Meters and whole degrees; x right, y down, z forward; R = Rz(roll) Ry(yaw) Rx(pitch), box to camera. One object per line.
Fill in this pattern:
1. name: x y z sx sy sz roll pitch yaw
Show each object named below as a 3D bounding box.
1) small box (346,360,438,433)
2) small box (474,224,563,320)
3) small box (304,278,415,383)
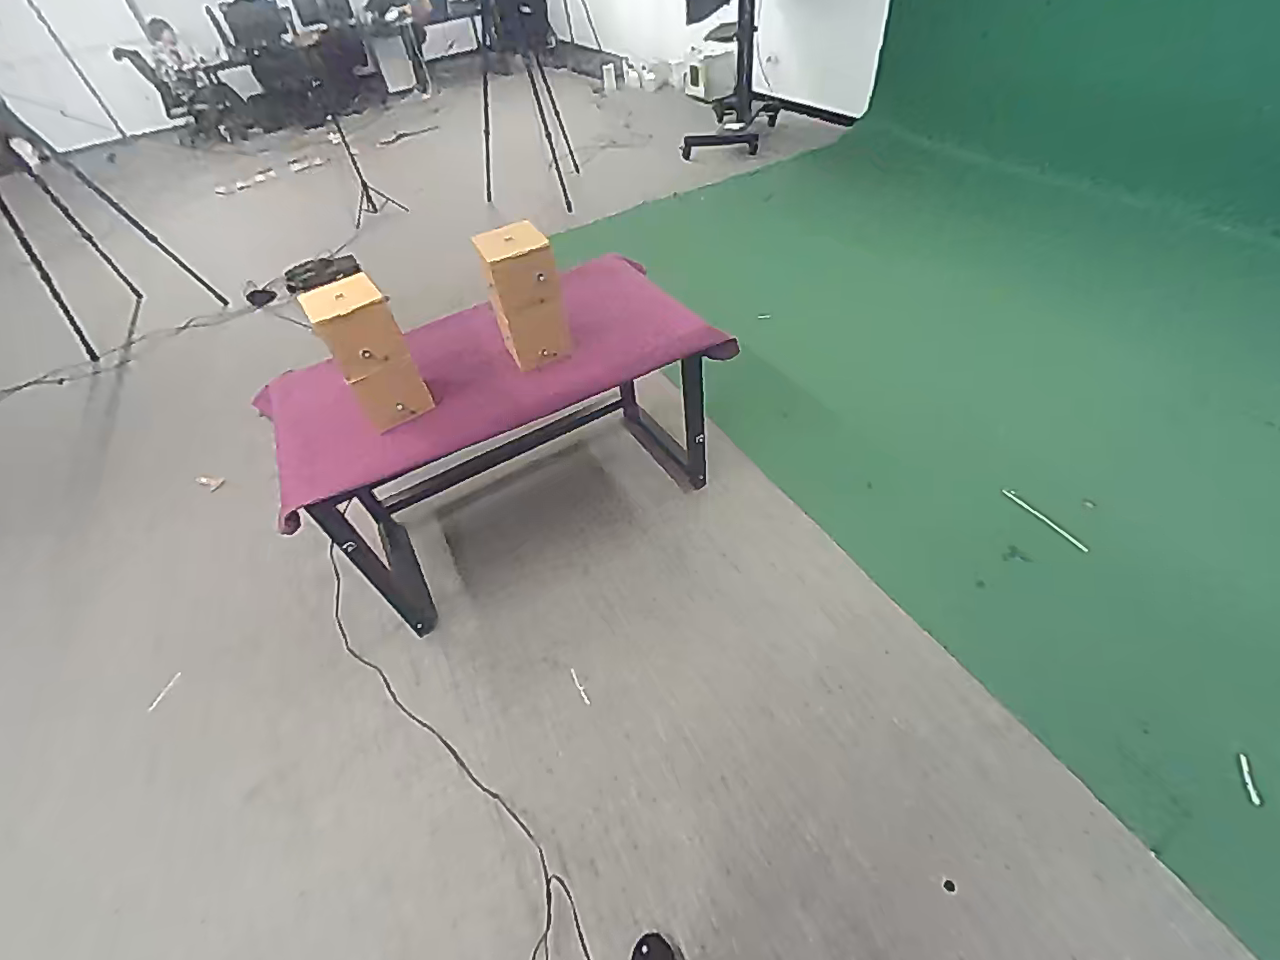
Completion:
1. small box: -0.674 -0.256 1.458 0.168 0.176 0.179 -30 51 -17
2. small box: -0.320 -0.550 1.447 0.168 0.176 0.179 -24 49 -13
3. small box: -0.692 -0.369 1.342 0.168 0.176 0.179 -31 51 -19
